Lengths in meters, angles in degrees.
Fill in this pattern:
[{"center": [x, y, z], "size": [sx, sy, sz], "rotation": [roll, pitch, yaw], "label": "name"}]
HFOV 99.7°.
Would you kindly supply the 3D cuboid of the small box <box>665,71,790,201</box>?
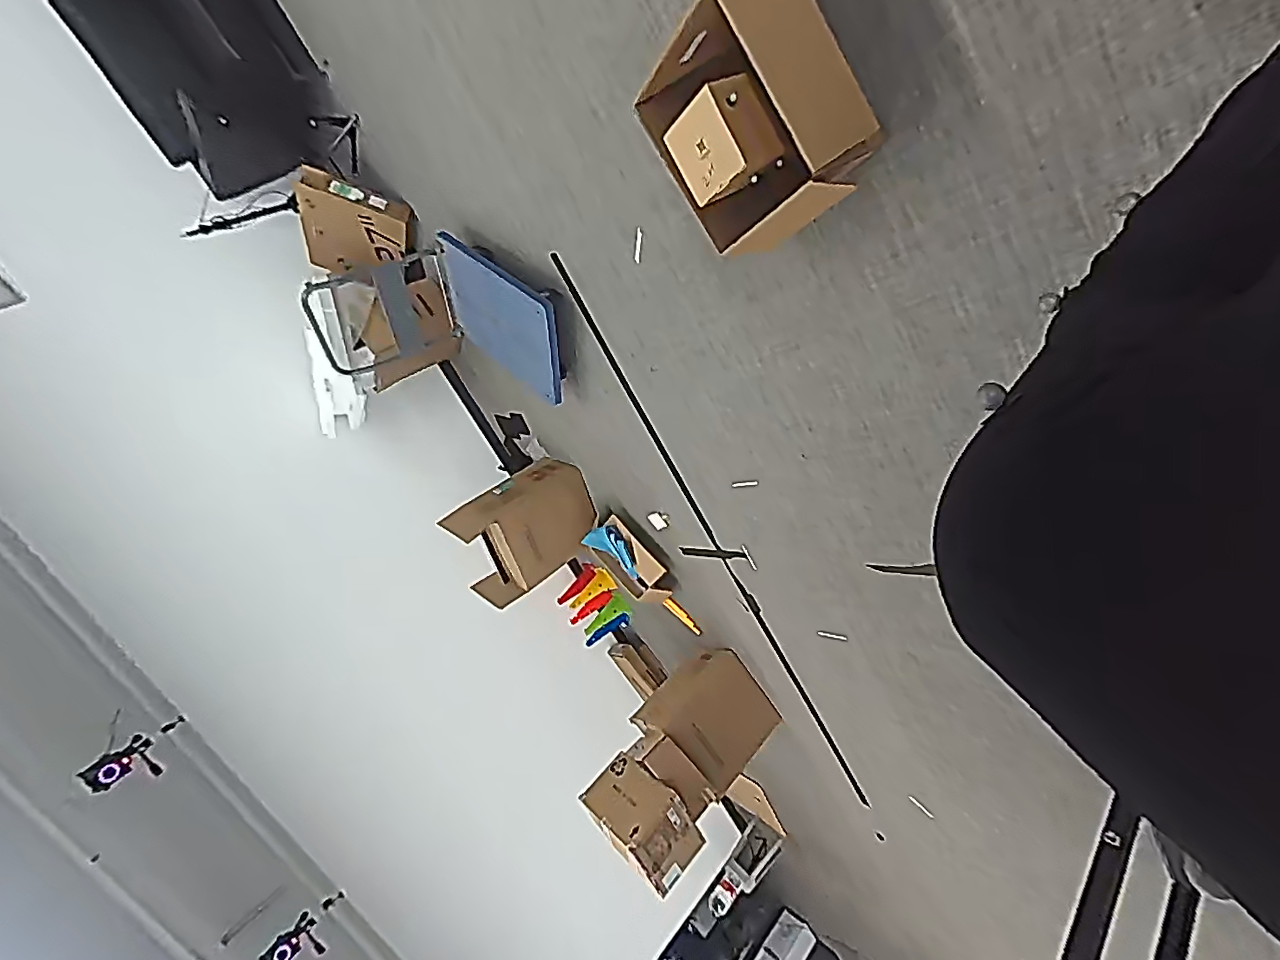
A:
[{"center": [0.195, -0.762, 1.195], "size": [0.179, 0.176, 0.168], "rotation": [58, 152, -12], "label": "small box"}]
